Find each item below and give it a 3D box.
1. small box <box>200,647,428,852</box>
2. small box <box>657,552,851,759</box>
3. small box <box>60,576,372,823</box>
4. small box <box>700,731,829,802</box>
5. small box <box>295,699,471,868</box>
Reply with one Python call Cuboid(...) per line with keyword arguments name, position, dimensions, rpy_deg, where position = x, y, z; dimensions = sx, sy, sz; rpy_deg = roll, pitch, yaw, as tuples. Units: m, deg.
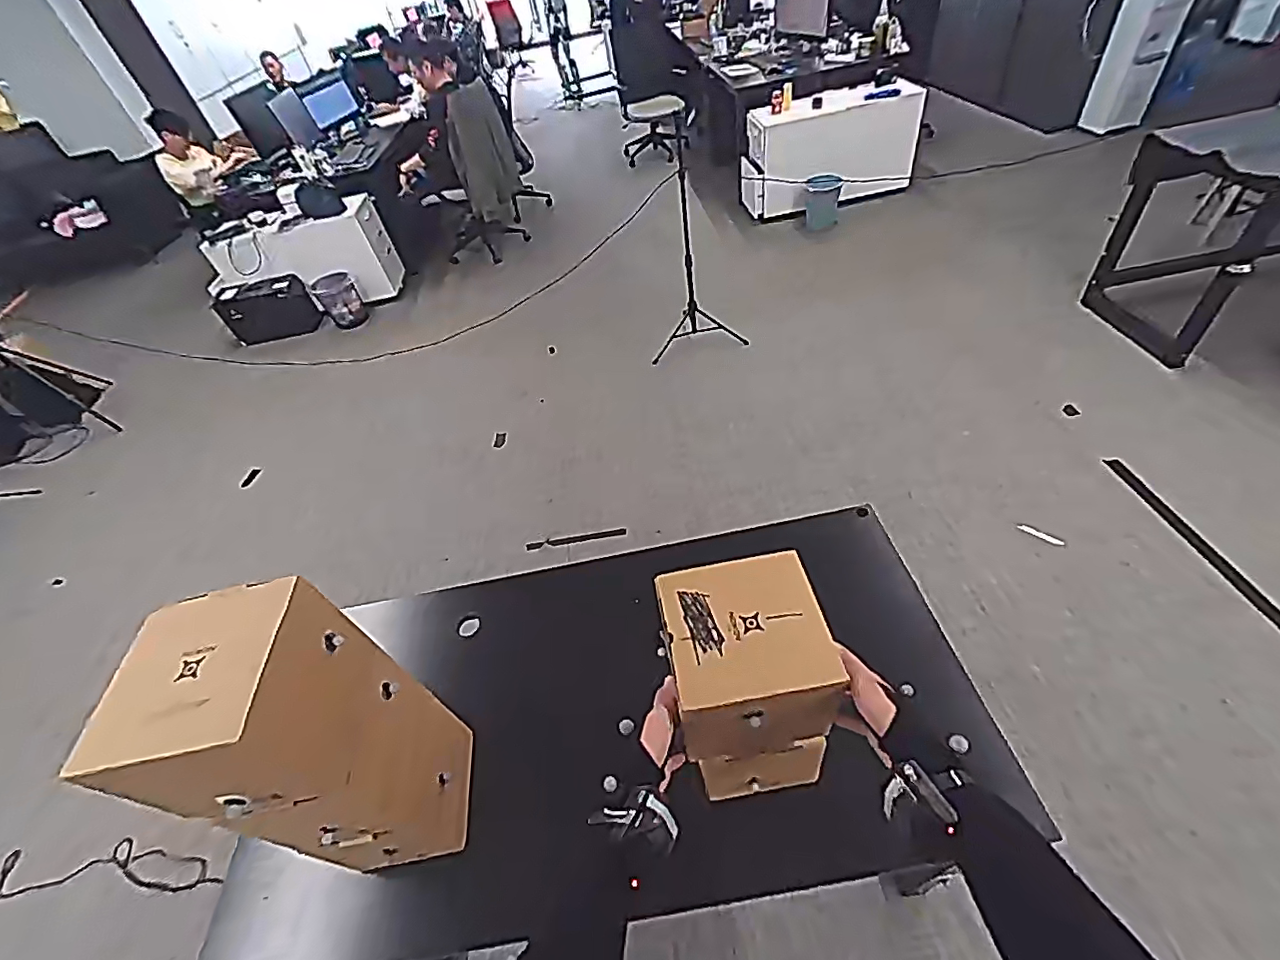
Cuboid(name="small box", position=(-0.389, 0.344, 0.689), dimensions=(0.168, 0.176, 0.179), rpy_deg=(-13, 46, 1))
Cuboid(name="small box", position=(0.125, 0.212, 0.644), dimensions=(0.179, 0.176, 0.168), rpy_deg=(-10, 47, -1))
Cuboid(name="small box", position=(-0.413, 0.233, 0.573), dimensions=(0.168, 0.176, 0.179), rpy_deg=(-13, 46, 1))
Cuboid(name="small box", position=(0.161, 0.346, 0.800), dimensions=(0.168, 0.176, 0.179), rpy_deg=(-12, 46, 1))
Cuboid(name="small box", position=(-0.364, 0.457, 0.806), dimensions=(0.168, 0.176, 0.179), rpy_deg=(-12, 46, 0))
